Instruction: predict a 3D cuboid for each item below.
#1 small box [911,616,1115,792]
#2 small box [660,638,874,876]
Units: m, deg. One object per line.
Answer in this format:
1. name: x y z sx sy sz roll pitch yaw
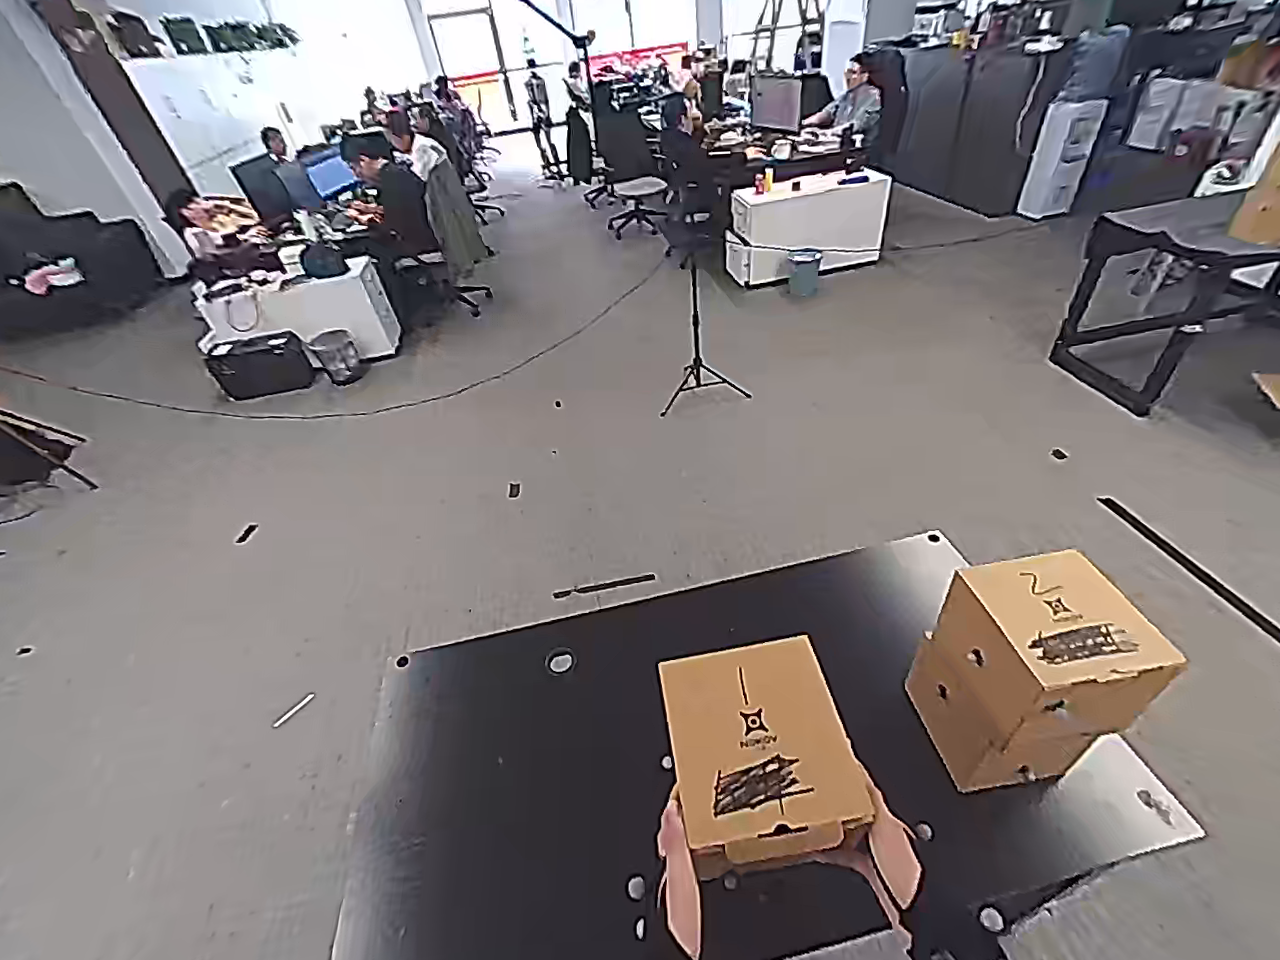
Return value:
1. small box: 0.537 0.336 0.814 0.168 0.176 0.179 -10 40 0
2. small box: 0.122 0.297 0.570 0.168 0.176 0.179 -10 46 1
